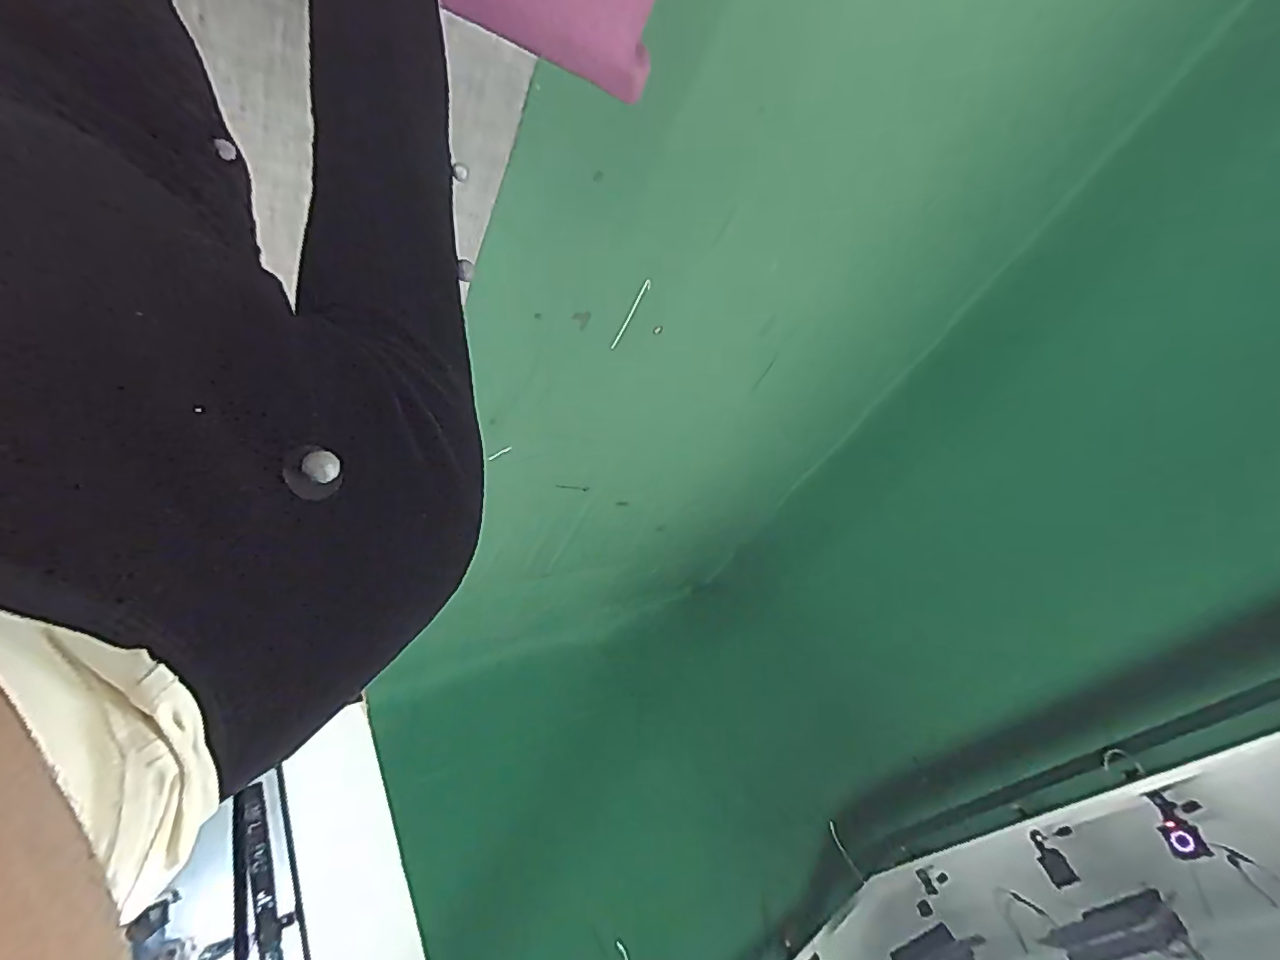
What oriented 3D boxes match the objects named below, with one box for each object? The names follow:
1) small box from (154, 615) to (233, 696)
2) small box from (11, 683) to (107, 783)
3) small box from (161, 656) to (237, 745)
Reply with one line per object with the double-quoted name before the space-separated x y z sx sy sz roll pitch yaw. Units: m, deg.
"small box" -1.417 0.547 1.713 0.179 0.176 0.168 -1 138 -44
"small box" -1.532 0.658 1.430 0.168 0.176 0.179 2 136 -45
"small box" -1.332 0.658 1.630 0.168 0.176 0.179 -1 137 -43
